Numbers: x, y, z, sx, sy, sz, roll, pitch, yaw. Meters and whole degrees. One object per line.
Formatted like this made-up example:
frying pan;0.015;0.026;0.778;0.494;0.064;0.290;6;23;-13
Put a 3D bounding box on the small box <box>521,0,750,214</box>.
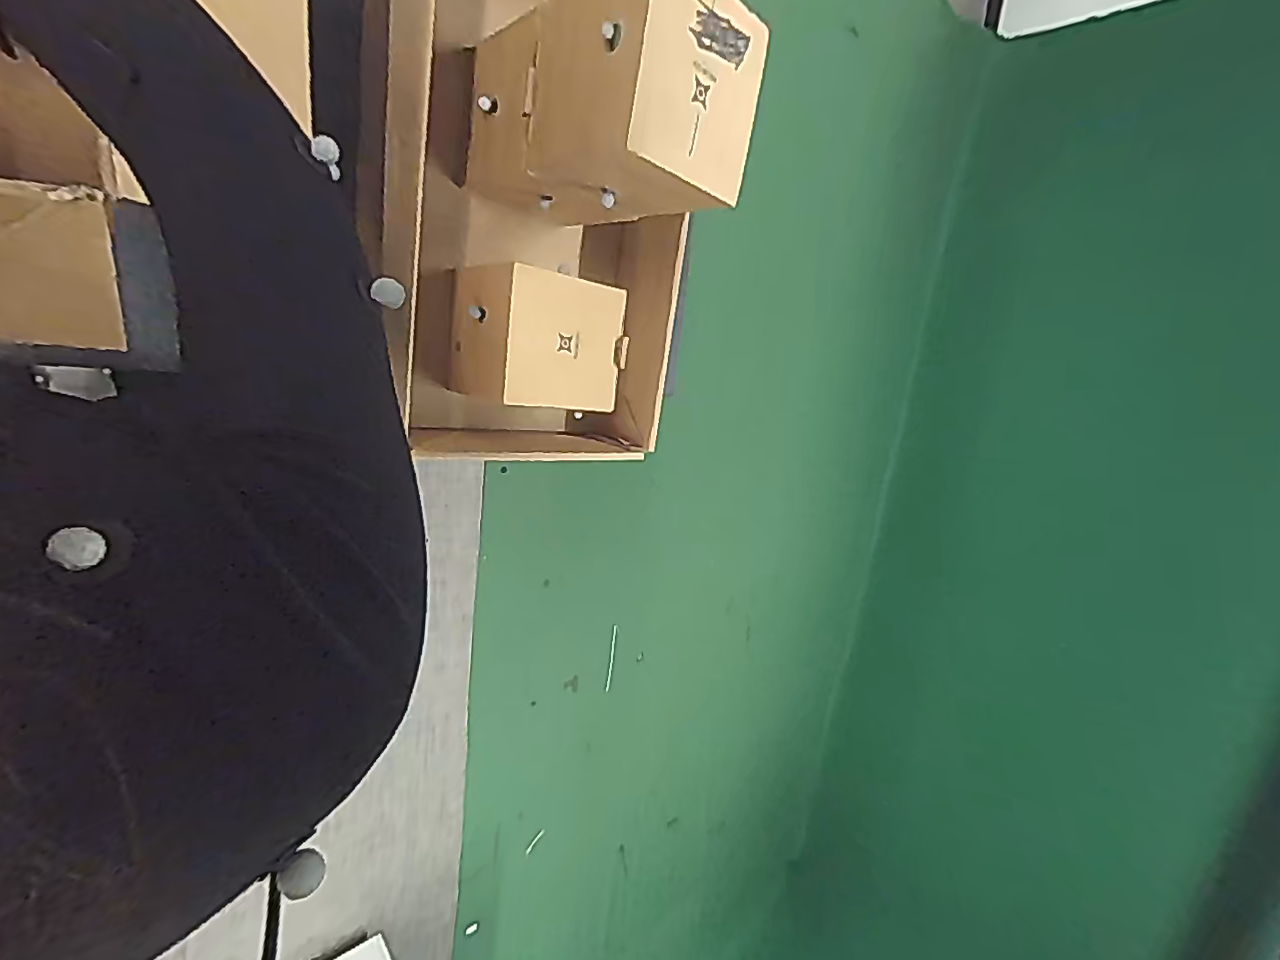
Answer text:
small box;-0.010;-0.407;0.586;0.168;0.176;0.179;-2;108;-45
